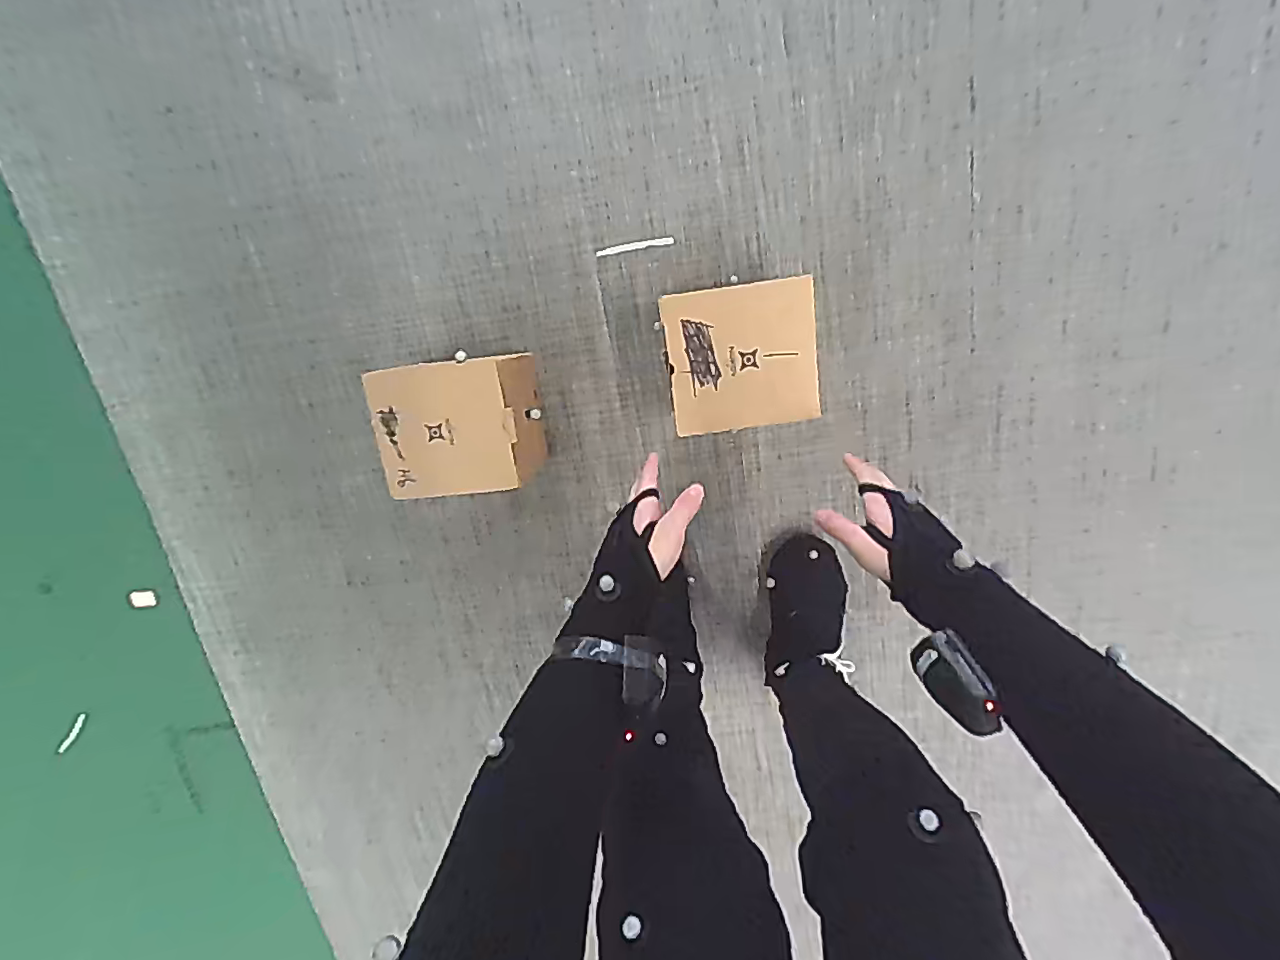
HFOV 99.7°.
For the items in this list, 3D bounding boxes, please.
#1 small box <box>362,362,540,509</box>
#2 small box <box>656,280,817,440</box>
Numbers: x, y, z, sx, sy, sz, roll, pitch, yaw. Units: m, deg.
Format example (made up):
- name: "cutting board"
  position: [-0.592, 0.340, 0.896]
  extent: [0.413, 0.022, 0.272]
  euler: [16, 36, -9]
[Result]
- name: "small box"
  position: [-0.243, -0.069, 0.751]
  extent: [0.179, 0.176, 0.168]
  euler: [-6, 105, 4]
- name: "small box"
  position: [0.119, -0.155, 0.704]
  extent: [0.179, 0.176, 0.168]
  euler: [-7, 105, 4]
